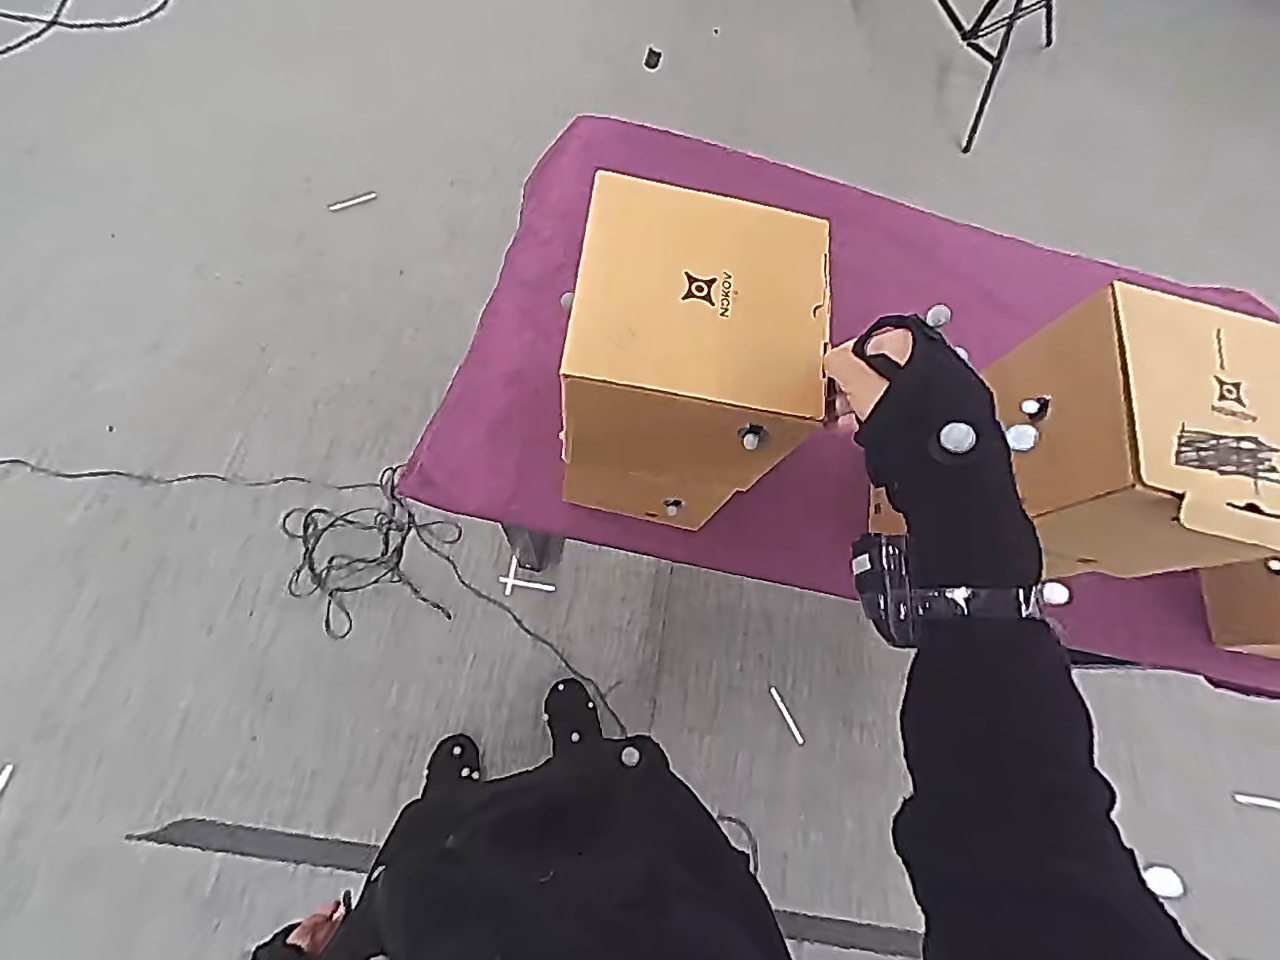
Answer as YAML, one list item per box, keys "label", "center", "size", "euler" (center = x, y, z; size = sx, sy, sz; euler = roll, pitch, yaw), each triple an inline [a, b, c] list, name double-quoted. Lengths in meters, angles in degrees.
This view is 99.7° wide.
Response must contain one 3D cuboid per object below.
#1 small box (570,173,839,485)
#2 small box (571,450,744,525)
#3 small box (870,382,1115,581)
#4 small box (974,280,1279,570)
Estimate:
- label: "small box"
  center: [0.040, -0.104, 0.440]
  size: [0.179, 0.176, 0.168]
  euler: [9, 72, -7]
- label: "small box"
  center: [0.022, -0.062, 0.596]
  size: [0.168, 0.176, 0.179]
  euler: [13, 69, -5]
- label: "small box"
  center: [0.395, 0.015, 0.622]
  size: [0.179, 0.176, 0.168]
  euler: [13, 70, -4]
- label: "small box"
  center: [0.419, -0.031, 0.465]
  size: [0.168, 0.176, 0.179]
  euler: [13, 70, -3]
